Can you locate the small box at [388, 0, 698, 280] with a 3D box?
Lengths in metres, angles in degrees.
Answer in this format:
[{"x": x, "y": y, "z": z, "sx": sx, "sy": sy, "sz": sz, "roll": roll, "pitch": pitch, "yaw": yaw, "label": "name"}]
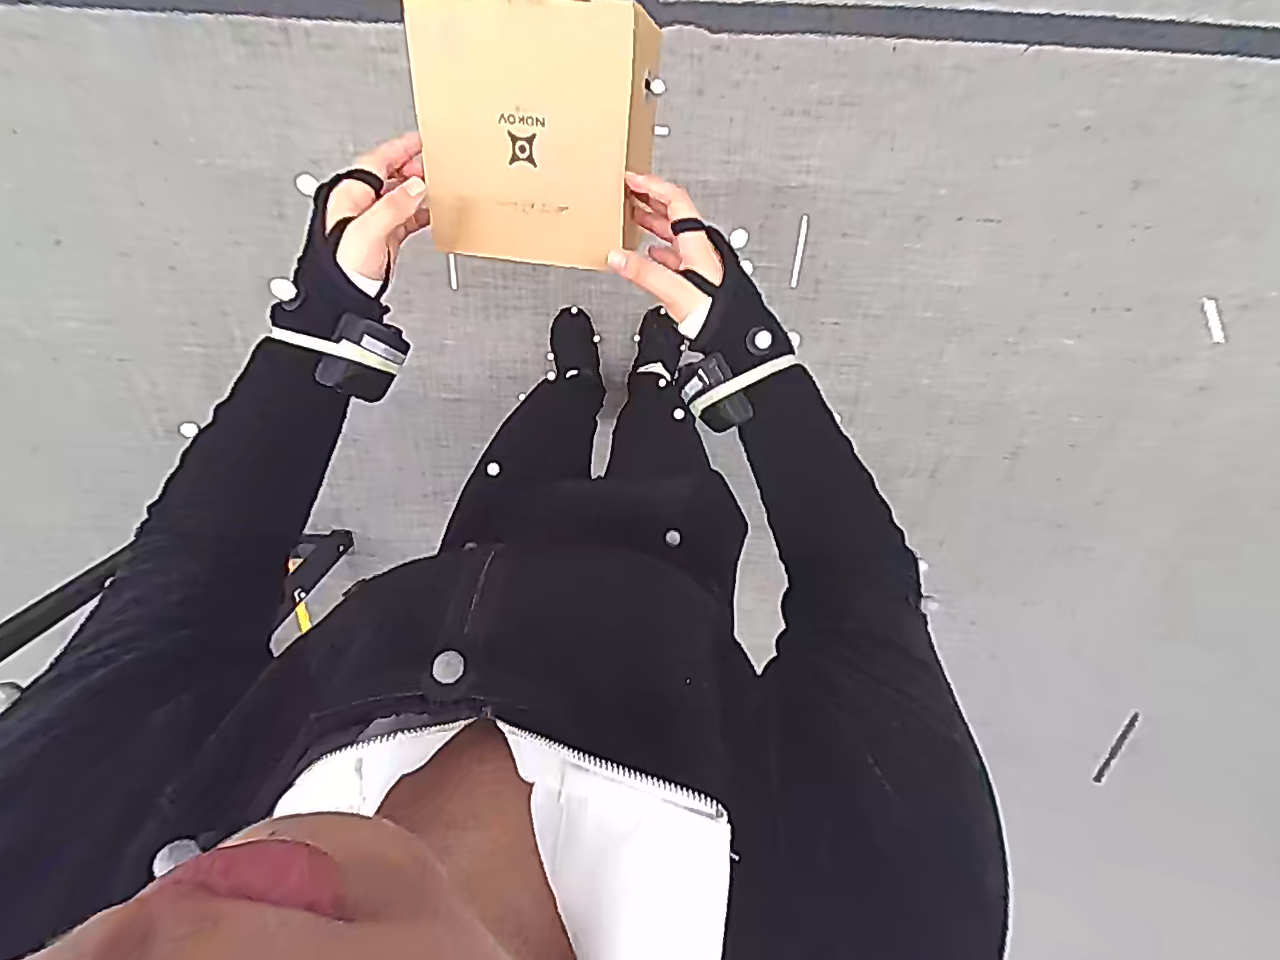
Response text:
[{"x": -0.052, "y": -0.263, "z": 0.387, "sx": 0.168, "sy": 0.176, "sz": 0.179, "roll": 9, "pitch": 127, "yaw": 5, "label": "small box"}]
